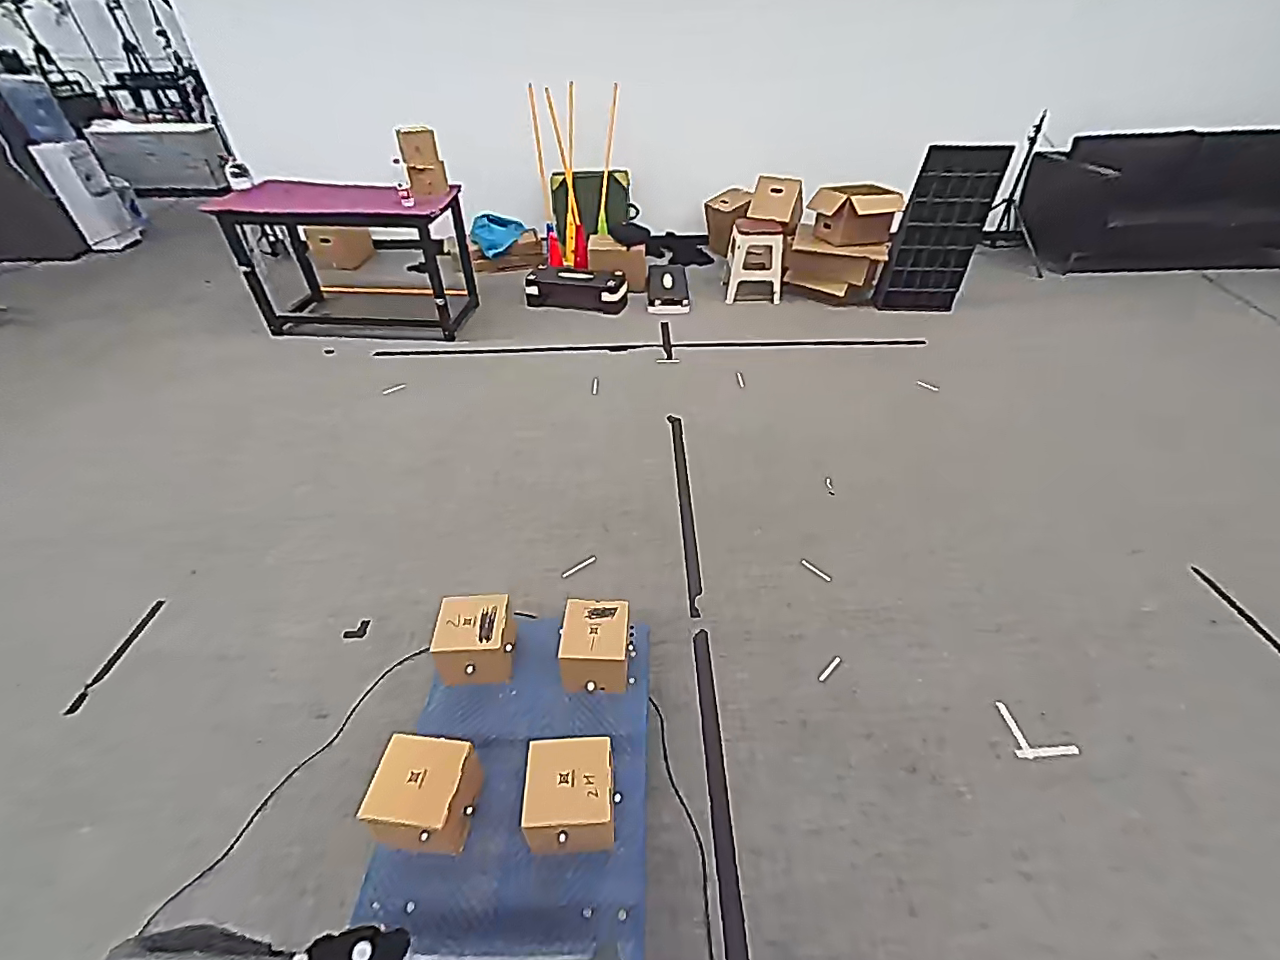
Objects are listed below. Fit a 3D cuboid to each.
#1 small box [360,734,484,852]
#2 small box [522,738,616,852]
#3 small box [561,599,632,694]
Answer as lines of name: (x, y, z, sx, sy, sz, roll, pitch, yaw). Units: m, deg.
small box: (-0.452, 0.668, 1.153, 0.179, 0.176, 0.168, 5, 40, 3)
small box: (-0.142, 0.671, 1.149, 0.179, 0.176, 0.168, -2, 41, -2)
small box: (-0.109, 0.437, 1.423, 0.168, 0.176, 0.179, 2, 42, 2)
